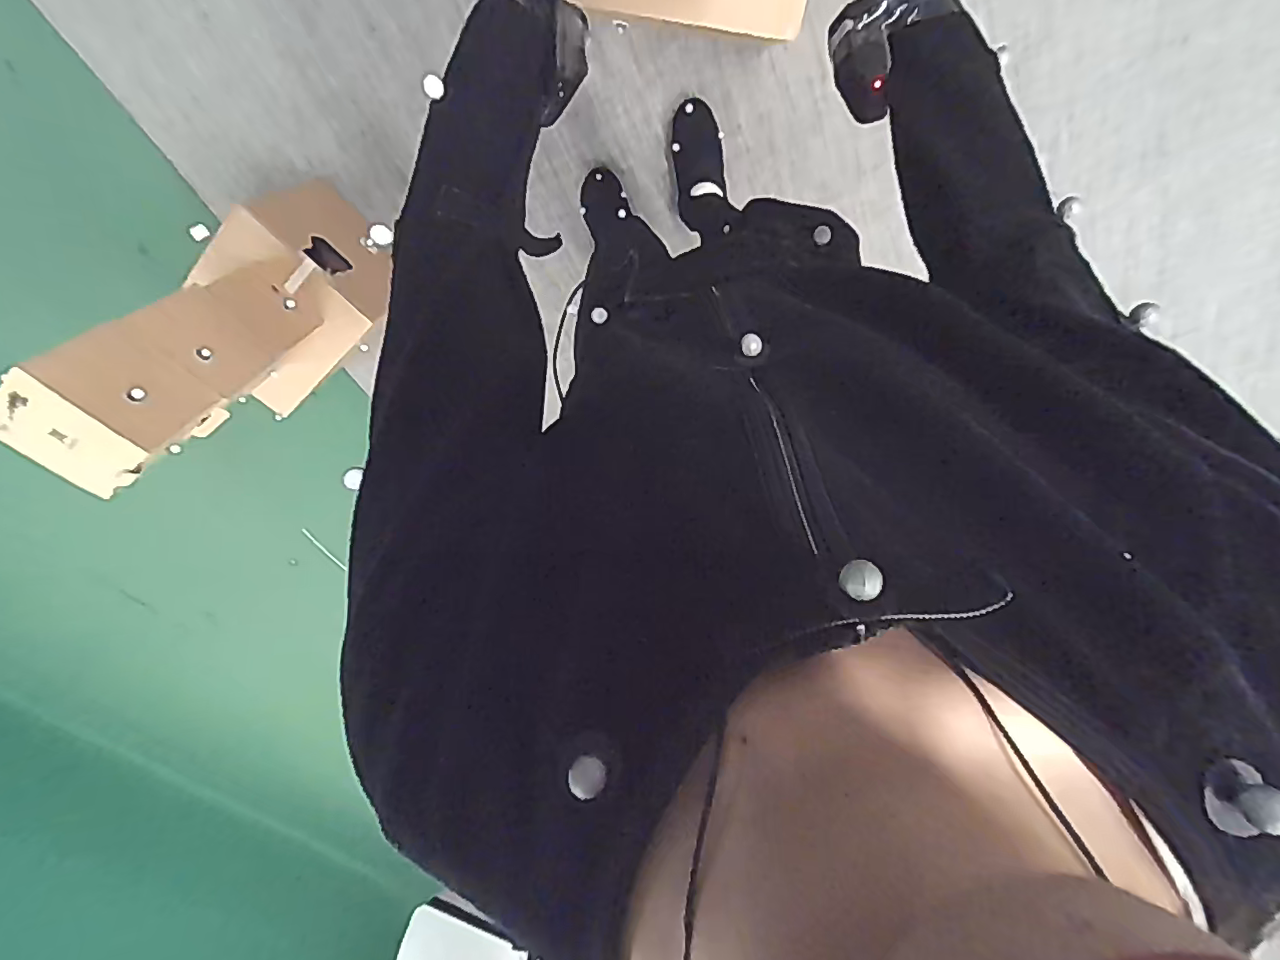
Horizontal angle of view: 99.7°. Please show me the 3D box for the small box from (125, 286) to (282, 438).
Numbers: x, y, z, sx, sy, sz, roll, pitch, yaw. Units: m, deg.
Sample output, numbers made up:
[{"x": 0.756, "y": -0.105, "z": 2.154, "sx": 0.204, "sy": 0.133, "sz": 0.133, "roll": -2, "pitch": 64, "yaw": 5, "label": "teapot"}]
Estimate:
[{"x": -0.800, "y": -0.214, "z": 0.972, "sx": 0.168, "sy": 0.176, "sz": 0.179, "roll": -27, "pitch": 122, "yaw": 23, "label": "small box"}]

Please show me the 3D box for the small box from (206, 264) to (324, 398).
[{"x": -0.795, "y": -0.307, "z": 1.107, "sx": 0.179, "sy": 0.176, "sz": 0.168, "roll": -29, "pitch": 121, "yaw": 24, "label": "small box"}]

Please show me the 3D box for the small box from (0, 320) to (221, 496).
[{"x": -0.816, "y": -0.113, "z": 0.843, "sx": 0.168, "sy": 0.176, "sz": 0.179, "roll": -29, "pitch": 122, "yaw": 24, "label": "small box"}]

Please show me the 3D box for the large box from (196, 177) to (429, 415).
[{"x": -0.798, "y": -0.442, "z": 1.313, "sx": 0.408, "sy": 0.320, "sz": 0.320, "roll": -31, "pitch": 118, "yaw": 27, "label": "large box"}]
